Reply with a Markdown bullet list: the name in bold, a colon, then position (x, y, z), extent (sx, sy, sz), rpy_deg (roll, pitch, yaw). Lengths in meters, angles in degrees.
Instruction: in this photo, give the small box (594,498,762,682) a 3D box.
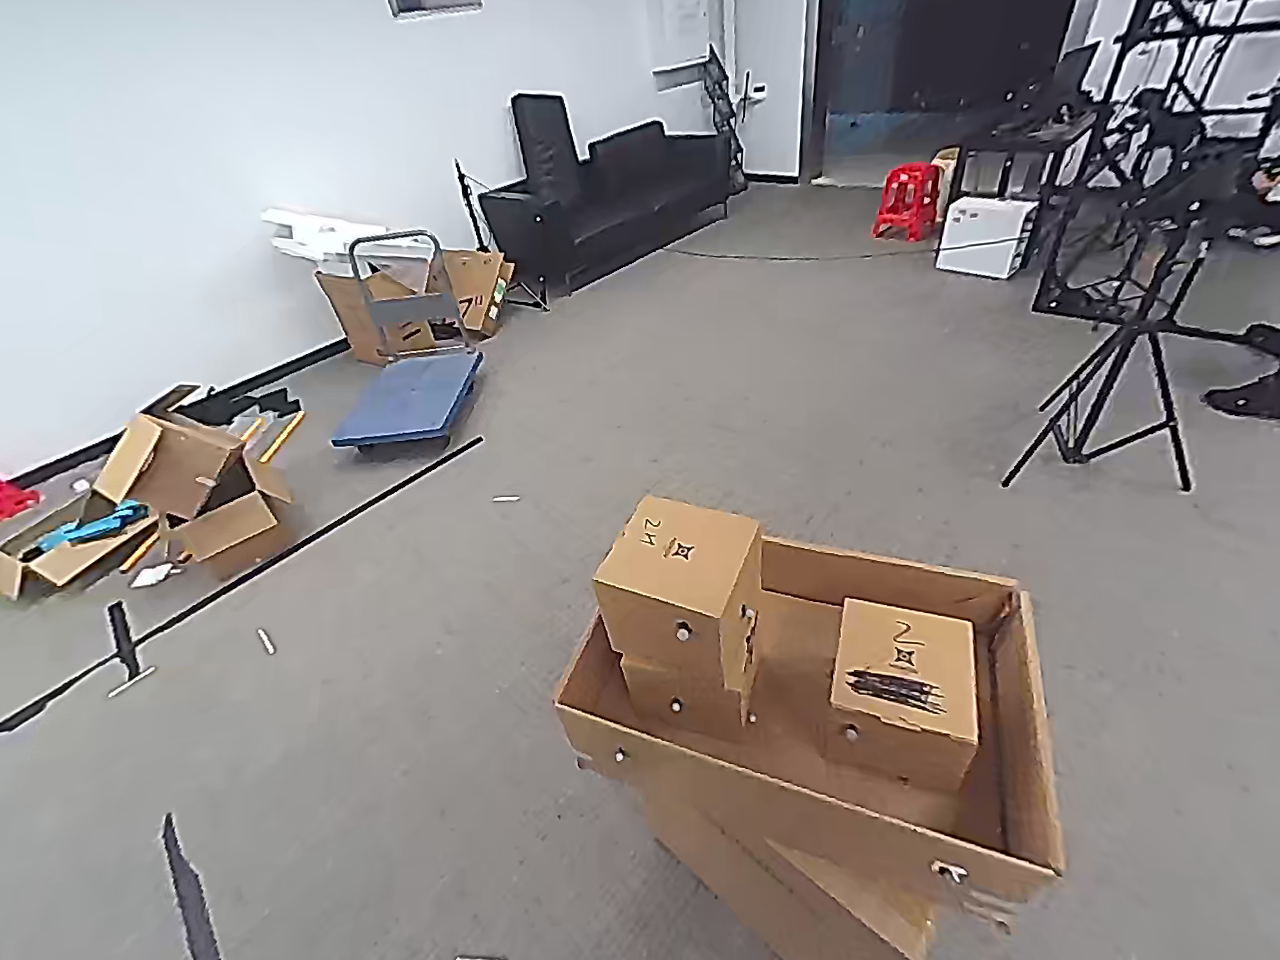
- **small box**: position (0.064, 0.153, 0.753), extent (0.179, 0.176, 0.168), rpy_deg (11, 45, 25)
